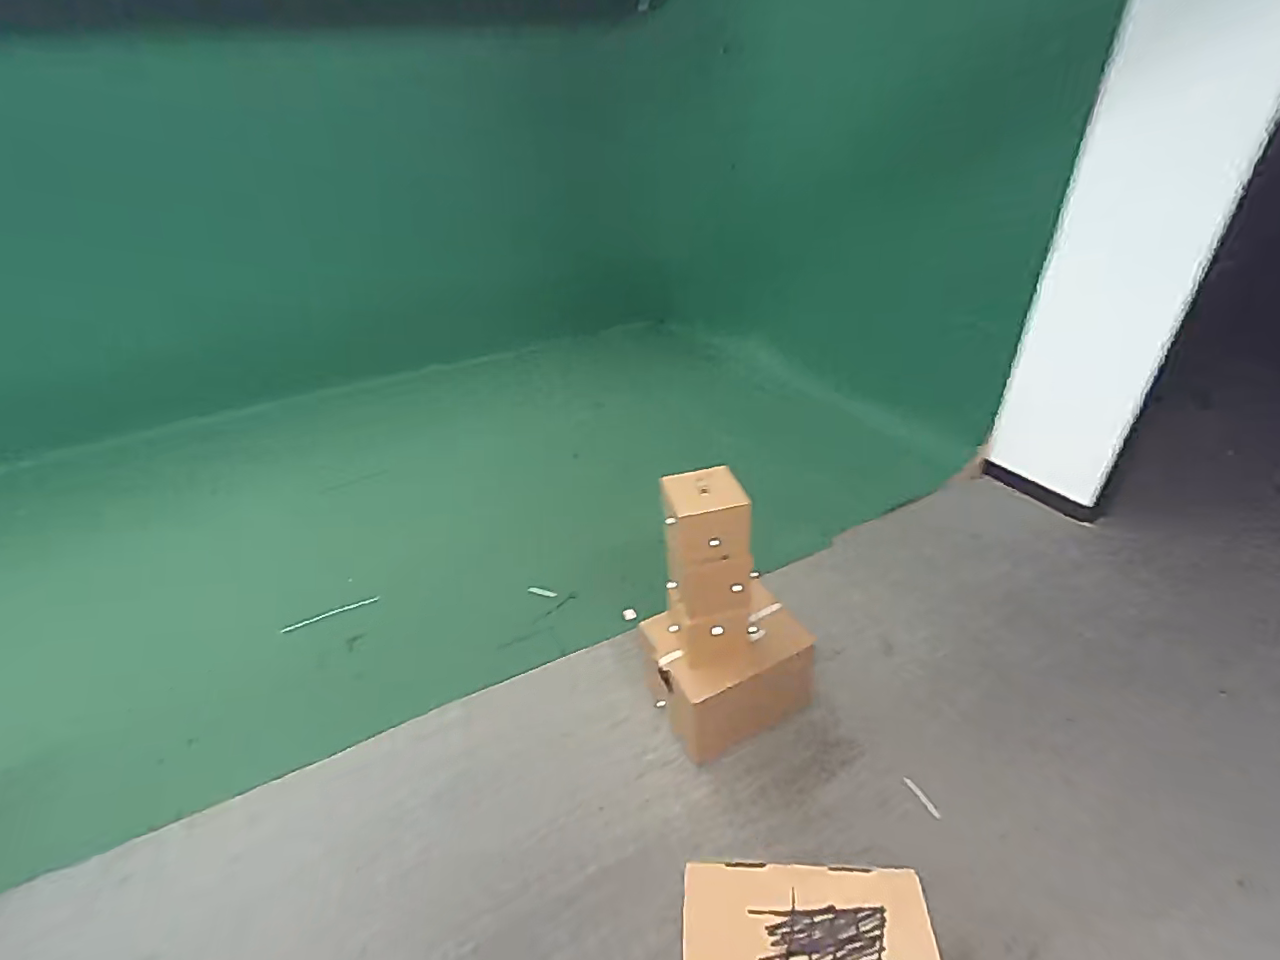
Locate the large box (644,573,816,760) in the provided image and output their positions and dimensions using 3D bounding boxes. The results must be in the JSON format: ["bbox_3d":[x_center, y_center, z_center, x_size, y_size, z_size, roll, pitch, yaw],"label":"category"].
[{"bbox_3d":[0.262,0.547,1.629,0.408,0.320,0.320,-18,36,-19],"label":"large box"}]

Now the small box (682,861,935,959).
[{"bbox_3d":[0.118,0.396,0.379,0.168,0.176,0.179,-5,41,9],"label":"small box"}]

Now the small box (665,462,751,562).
[{"bbox_3d":[0.164,0.081,1.312,0.168,0.176,0.179,-10,33,-7],"label":"small box"}]

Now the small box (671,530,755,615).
[{"bbox_3d":[0.186,0.220,1.398,0.179,0.176,0.168,-12,33,-7],"label":"small box"}]

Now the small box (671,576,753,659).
[{"bbox_3d":[0.193,0.360,1.482,0.179,0.176,0.168,-13,34,-10],"label":"small box"}]
